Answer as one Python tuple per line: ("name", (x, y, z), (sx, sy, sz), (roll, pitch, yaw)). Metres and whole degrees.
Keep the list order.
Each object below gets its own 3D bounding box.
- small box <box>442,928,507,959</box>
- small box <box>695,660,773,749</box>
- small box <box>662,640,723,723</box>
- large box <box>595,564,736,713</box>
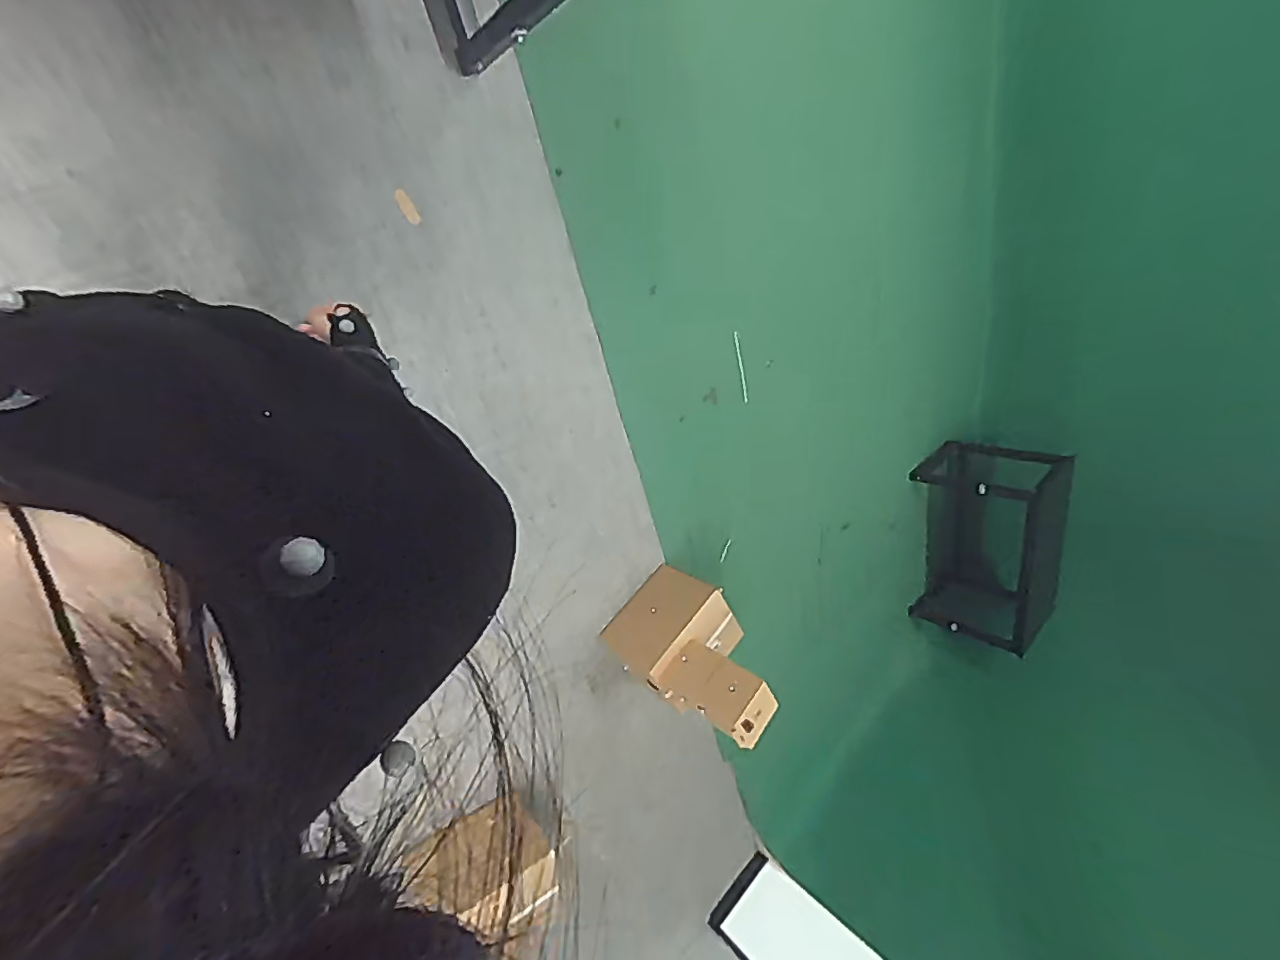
("small box", (-0.461, 1.448, 1.538), (0.168, 0.176, 0.179), (-12, 111, -38))
("small box", (0.302, 0.734, 1.778), (0.179, 0.176, 0.168), (-46, 127, -23))
("small box", (0.197, 0.702, 1.901), (0.179, 0.176, 0.168), (-42, 125, -25))
("large box", (0.102, 0.610, 2.125), (0.408, 0.320, 0.320), (-47, 128, -23))
